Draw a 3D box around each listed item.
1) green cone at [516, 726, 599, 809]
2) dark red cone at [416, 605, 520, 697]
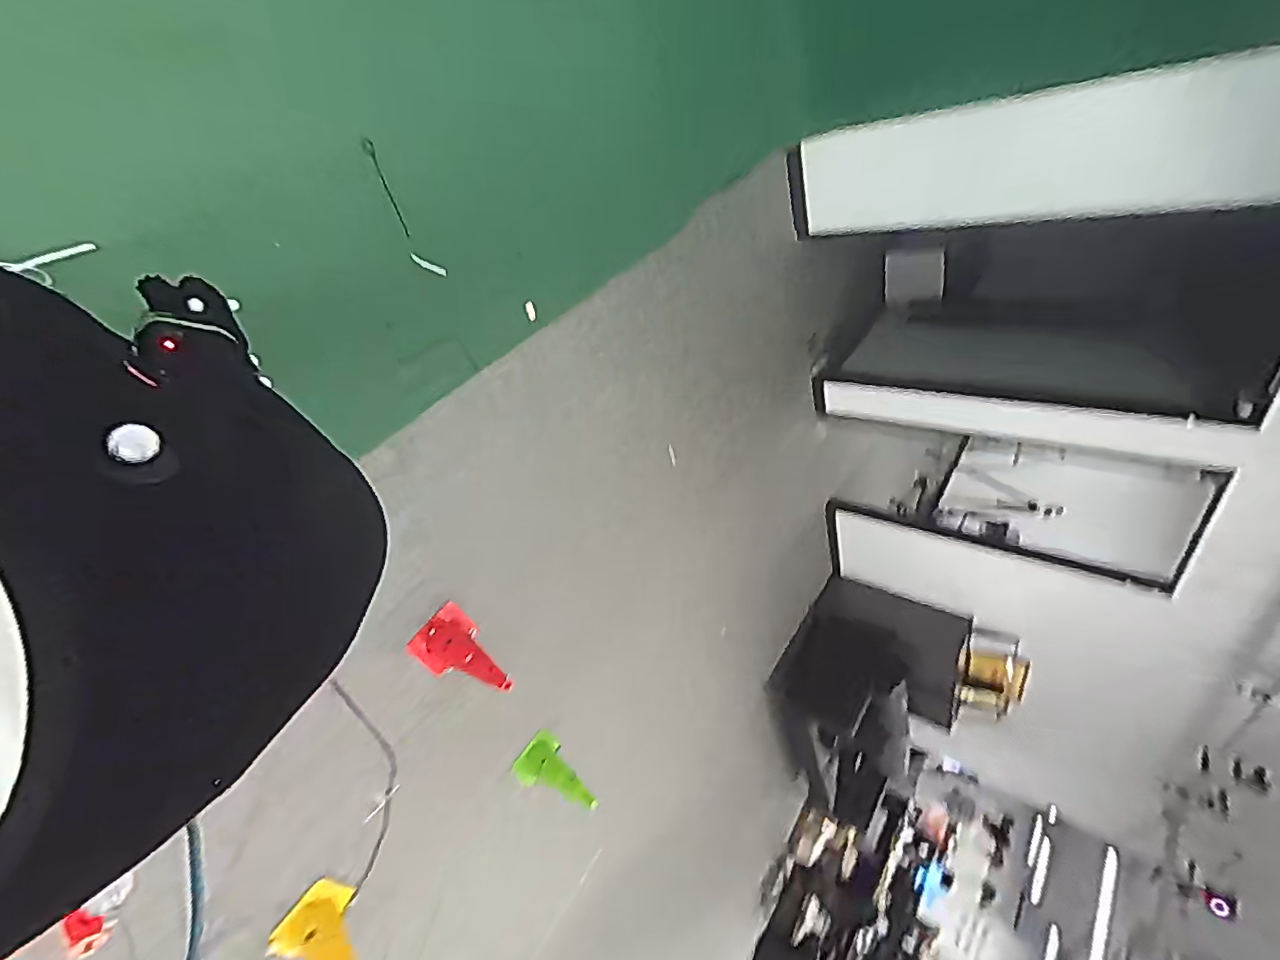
[{"bbox_3d":[-0.301,1.216,2.217,0.202,0.368,0.200,-47,134,-28],"label":"green cone"},{"bbox_3d":[-0.506,0.573,1.704,0.202,0.394,0.201,-51,135,-26],"label":"dark red cone"}]
